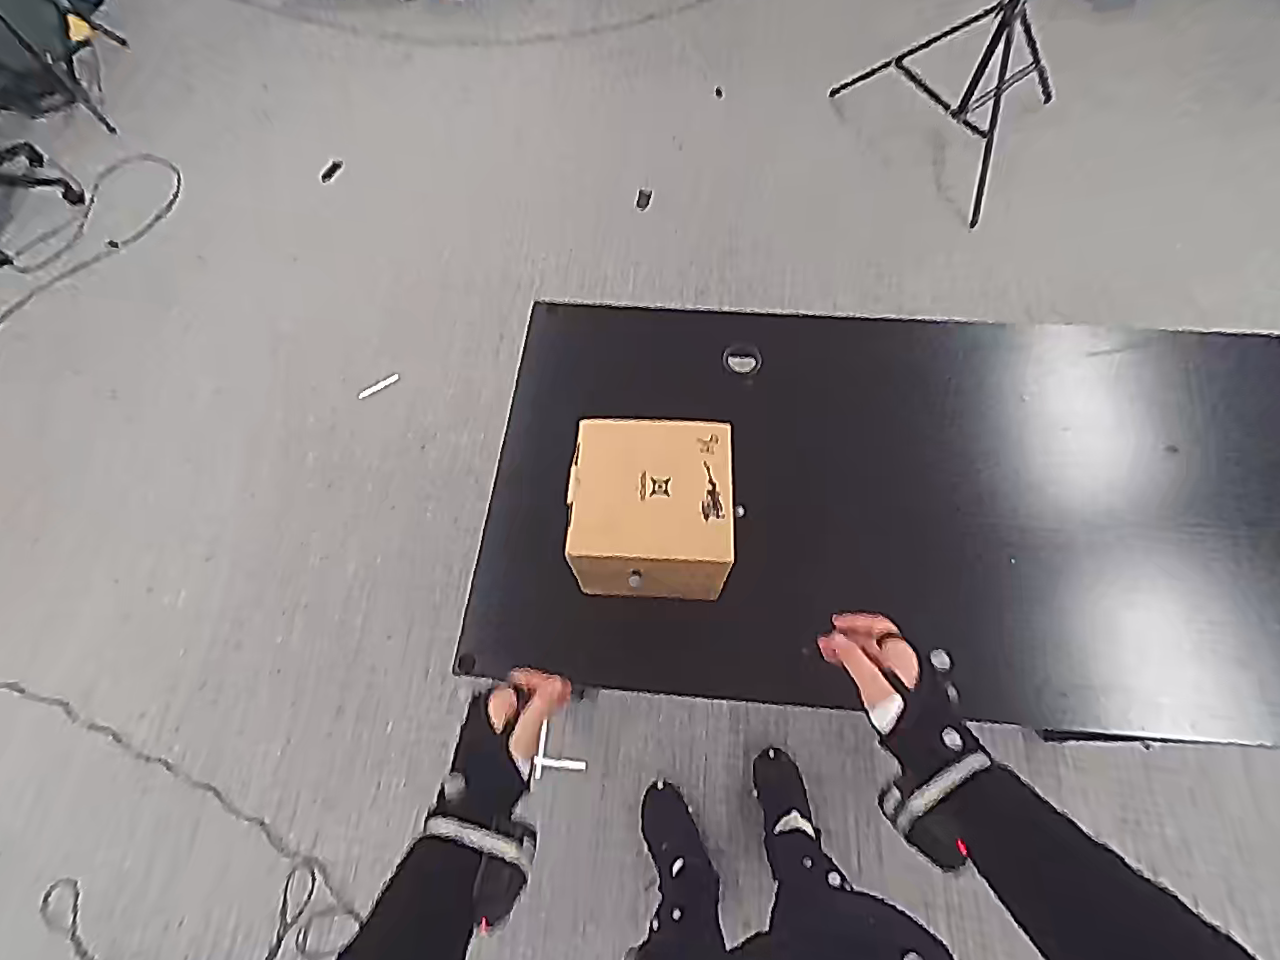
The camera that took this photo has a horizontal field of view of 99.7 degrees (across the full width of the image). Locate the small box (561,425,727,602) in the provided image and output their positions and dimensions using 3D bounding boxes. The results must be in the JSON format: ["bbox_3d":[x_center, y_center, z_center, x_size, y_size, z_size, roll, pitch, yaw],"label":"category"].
[{"bbox_3d":[0.011,0.047,0.663,0.179,0.176,0.168,2,64,3],"label":"small box"}]
